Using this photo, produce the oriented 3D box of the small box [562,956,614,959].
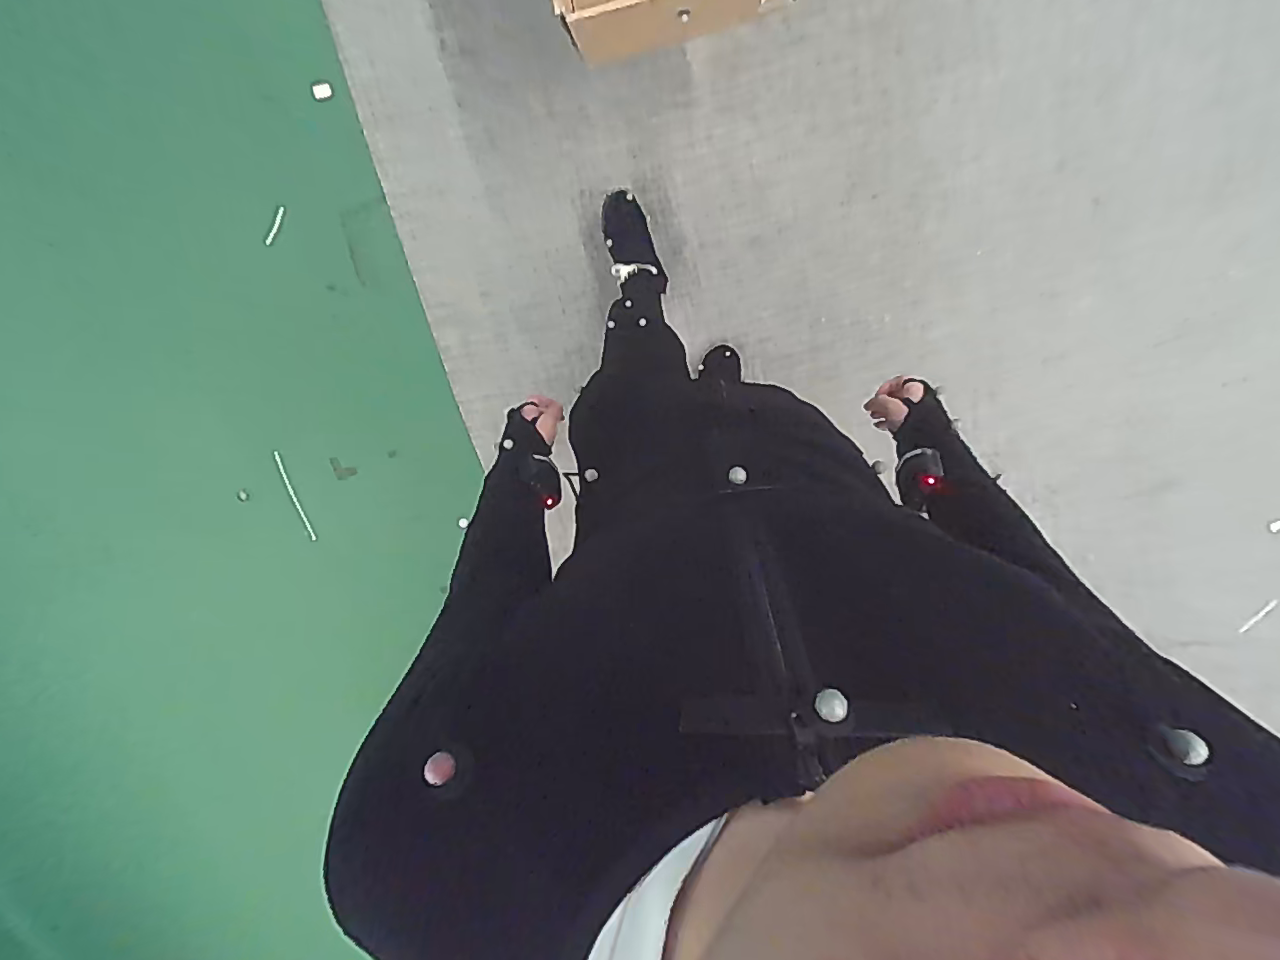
[{"bbox_3d":[-0.114,1.224,1.215,0.168,0.176,0.179,-13,107,7],"label":"small box"}]
